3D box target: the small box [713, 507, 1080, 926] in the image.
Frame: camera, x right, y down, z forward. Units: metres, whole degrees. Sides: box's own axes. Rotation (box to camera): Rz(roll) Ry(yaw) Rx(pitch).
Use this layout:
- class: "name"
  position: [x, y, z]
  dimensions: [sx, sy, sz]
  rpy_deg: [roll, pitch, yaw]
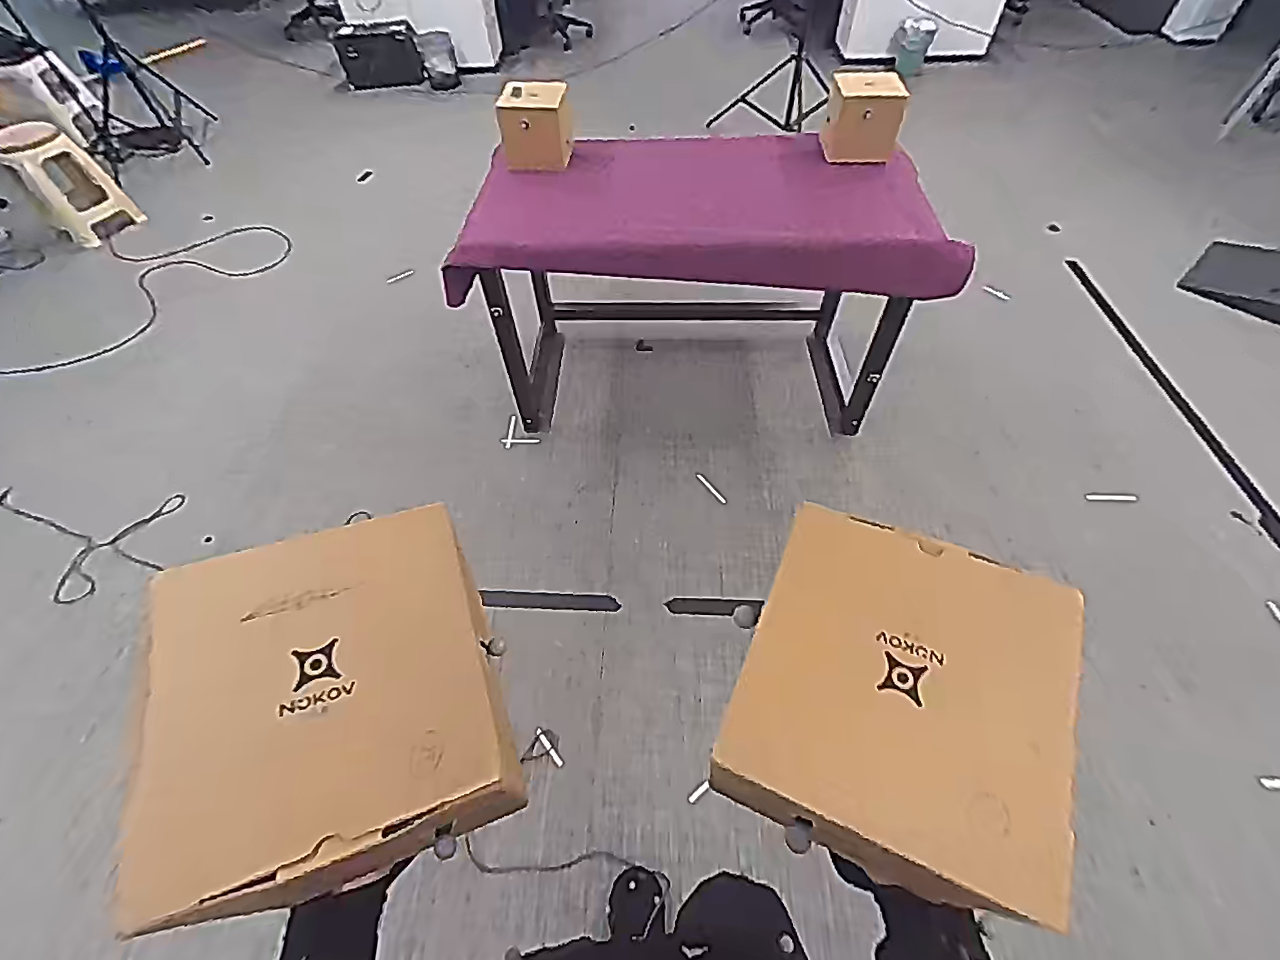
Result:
- class: "small box"
  position: [0.157, 0.152, 0.366]
  dimensions: [0.168, 0.176, 0.179]
  rpy_deg: [18, 58, 19]

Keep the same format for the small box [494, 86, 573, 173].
- class: "small box"
  position: [-0.301, -1.015, 1.570]
  dimensions: [0.179, 0.176, 0.168]
  rpy_deg: [4, 56, 3]

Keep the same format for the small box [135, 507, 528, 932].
- class: "small box"
  position: [-0.177, 0.150, 0.358]
  dimensions: [0.168, 0.176, 0.179]
  rpy_deg: [-14, 58, -18]

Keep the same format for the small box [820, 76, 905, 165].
- class: "small box"
  position: [0.621, -1.021, 1.538]
  dimensions: [0.179, 0.176, 0.168]
  rpy_deg: [2, 55, 3]
